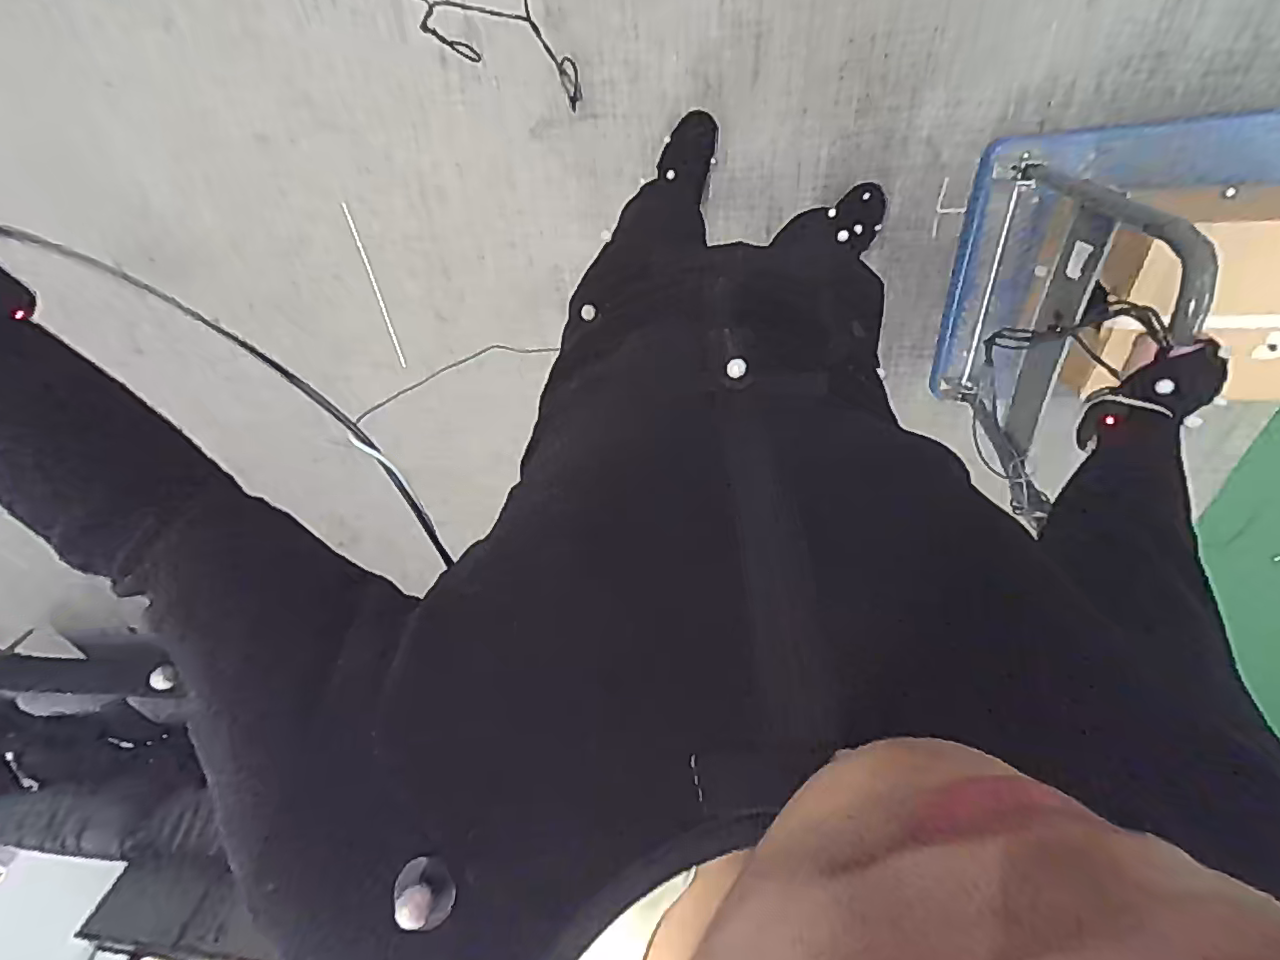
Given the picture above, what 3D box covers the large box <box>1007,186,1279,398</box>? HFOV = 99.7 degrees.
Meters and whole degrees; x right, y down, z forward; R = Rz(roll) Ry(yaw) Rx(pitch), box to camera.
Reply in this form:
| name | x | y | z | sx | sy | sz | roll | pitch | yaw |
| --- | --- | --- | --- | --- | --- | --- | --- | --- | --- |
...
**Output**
| name | x | y | z | sx | sy | sz | roll | pitch | yaw |
| --- | --- | --- | --- | --- | --- | --- | --- | --- | --- |
| large box | 1.028 | -0.367 | 1.045 | 0.408 | 0.320 | 0.320 | 1 | 127 | 7 |
